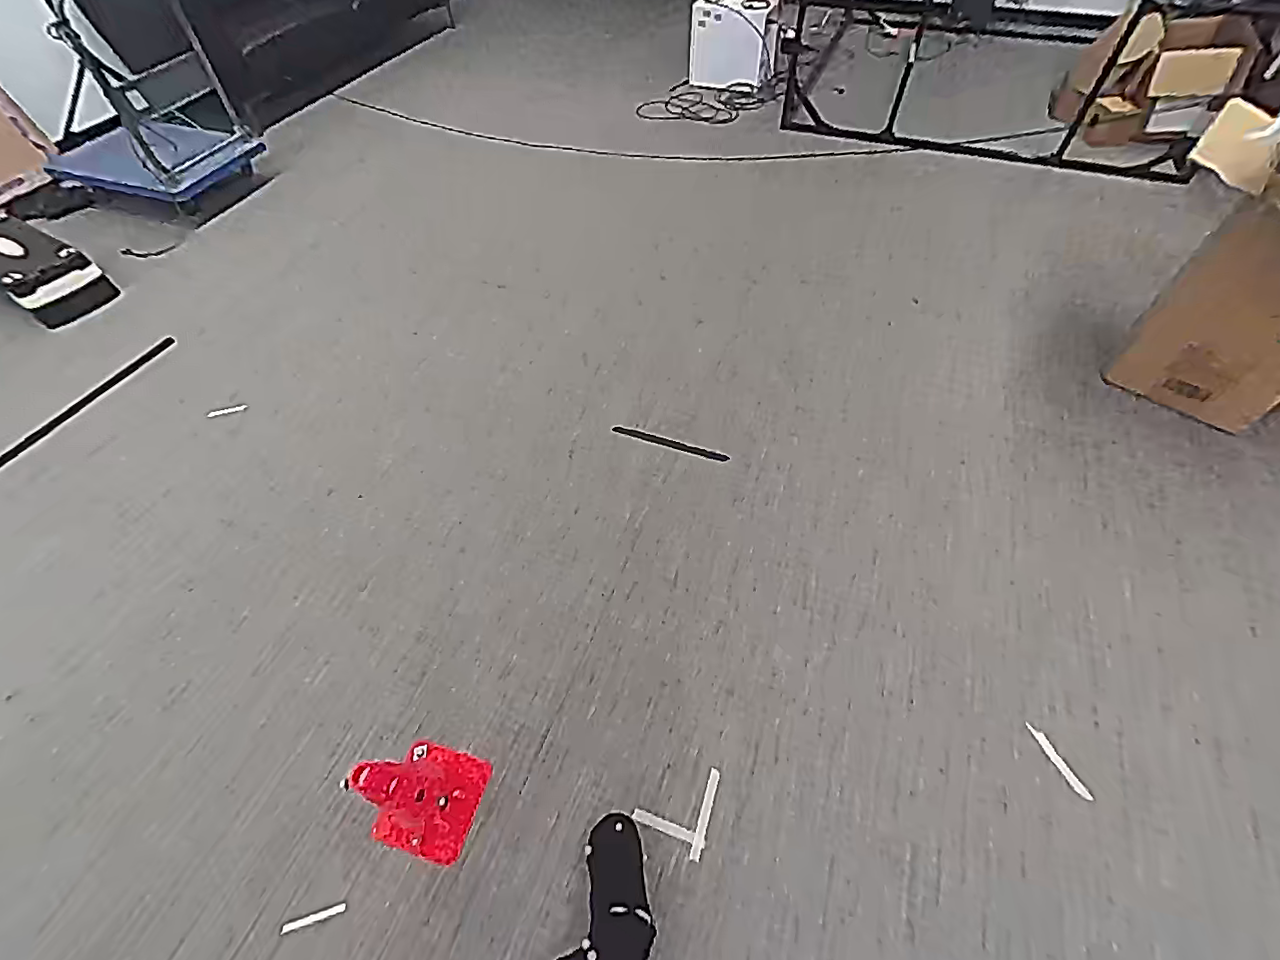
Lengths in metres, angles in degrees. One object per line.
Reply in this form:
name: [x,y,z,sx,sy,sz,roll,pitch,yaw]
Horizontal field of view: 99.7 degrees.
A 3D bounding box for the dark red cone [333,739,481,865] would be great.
dark red cone: [-0.456,0.574,0.999,0.202,0.394,0.201,12,56,10]
